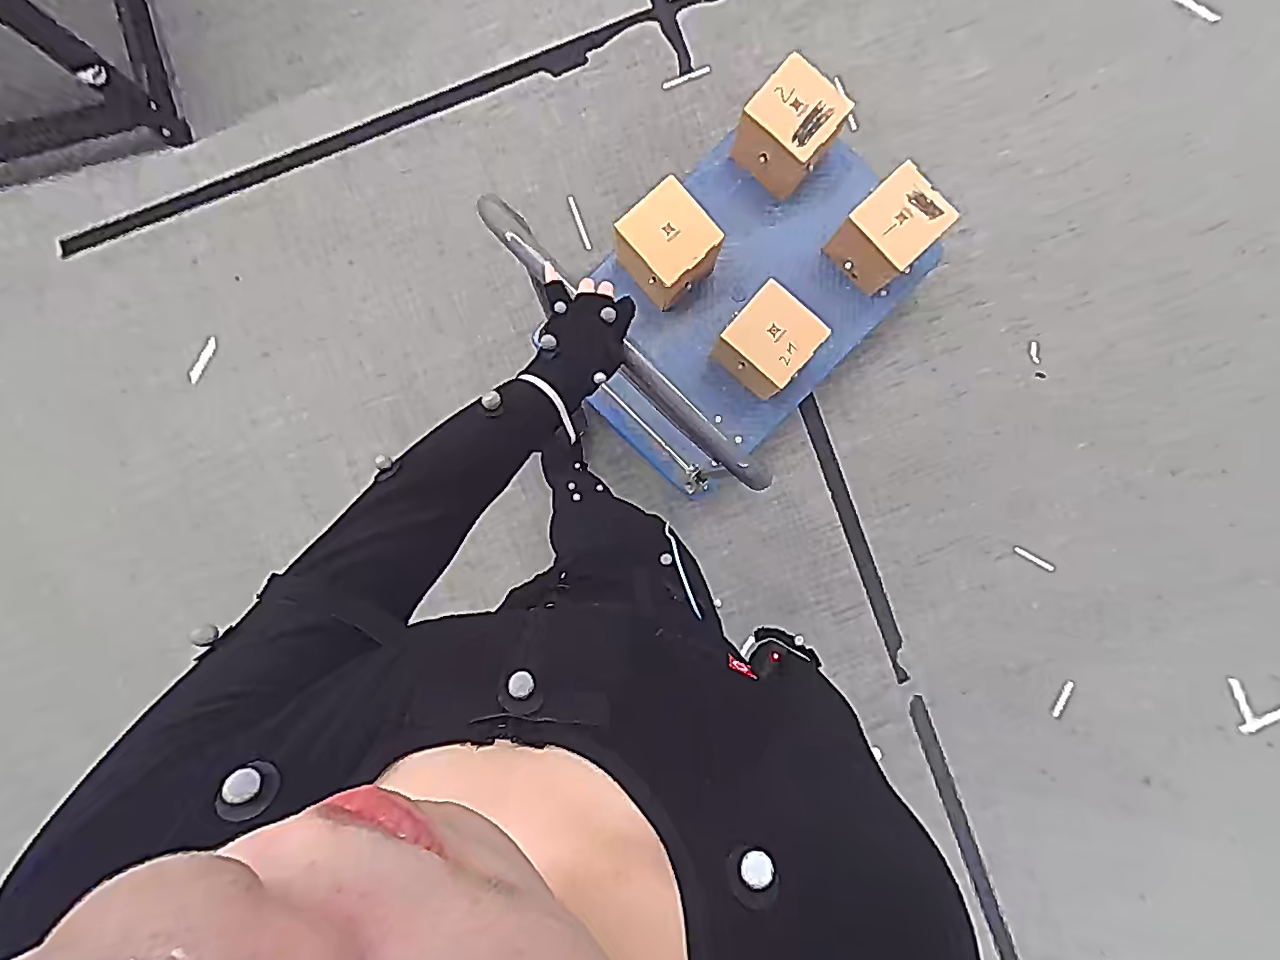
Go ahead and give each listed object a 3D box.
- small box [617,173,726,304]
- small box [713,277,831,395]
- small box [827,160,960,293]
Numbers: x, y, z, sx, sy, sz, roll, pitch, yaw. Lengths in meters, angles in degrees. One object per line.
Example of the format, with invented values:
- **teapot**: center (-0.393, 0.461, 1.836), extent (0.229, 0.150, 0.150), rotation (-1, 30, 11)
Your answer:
- **small box**: center (0.063, -0.526, 1.208), extent (0.168, 0.176, 0.179), rotation (-42, 92, -1)
- **small box**: center (0.285, -0.311, 1.212), extent (0.179, 0.176, 0.168), rotation (42, 90, -1)
- **small box**: center (0.556, -0.557, 1.213), extent (0.179, 0.176, 0.168), rotation (-43, 91, 1)
